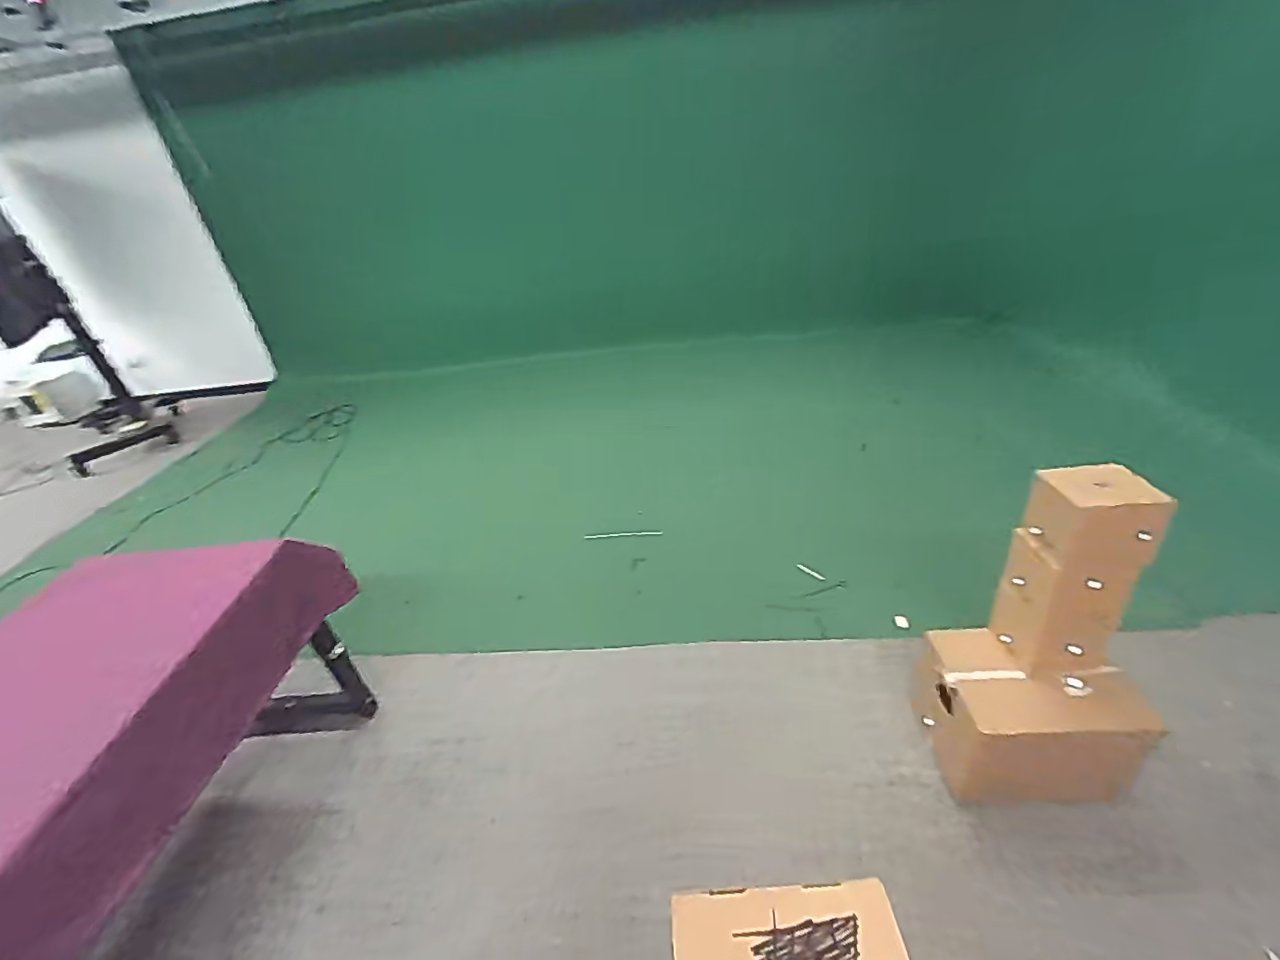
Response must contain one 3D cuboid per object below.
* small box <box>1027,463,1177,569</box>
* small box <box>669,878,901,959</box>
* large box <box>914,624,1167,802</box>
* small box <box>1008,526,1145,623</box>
[{"bbox_3d":[1.002,0.079,1.193,0.179,0.176,0.168,-5,29,8],"label":"small box"},{"bbox_3d":[0.113,0.432,0.395,0.168,0.176,0.179,-7,33,3],"label":"small box"},{"bbox_3d":[1.006,0.611,1.426,0.408,0.320,0.320,-4,32,5],"label":"large box"},{"bbox_3d":[1.016,0.218,1.278,0.179,0.176,0.168,-6,29,6],"label":"small box"}]
